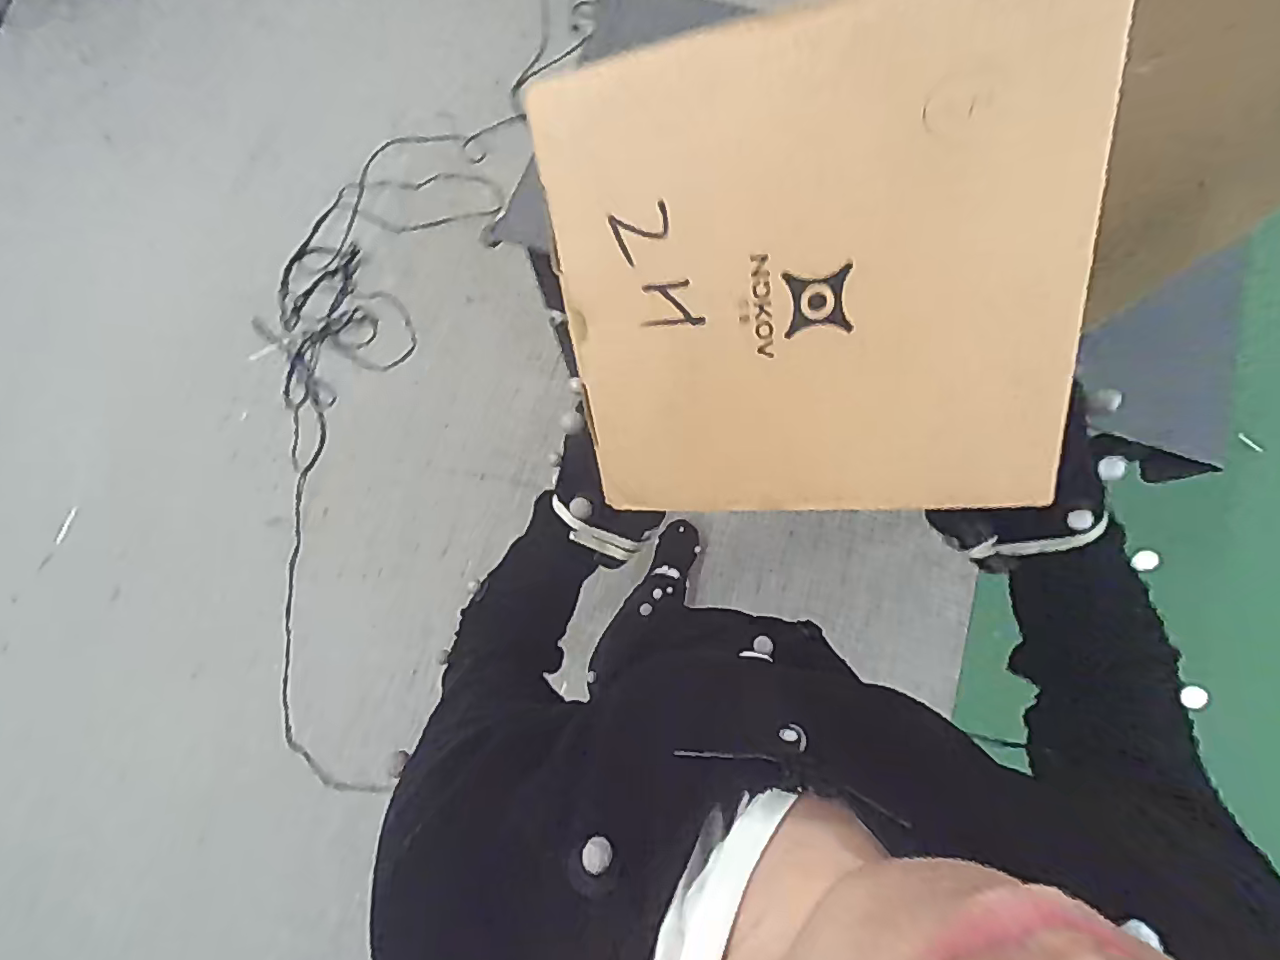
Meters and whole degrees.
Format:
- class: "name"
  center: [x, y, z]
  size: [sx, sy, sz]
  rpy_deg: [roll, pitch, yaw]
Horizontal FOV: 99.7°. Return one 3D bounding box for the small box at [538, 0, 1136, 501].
- class: "small box"
  center: [0.079, -0.100, 0.263]
  size: [0.179, 0.176, 0.168]
  rpy_deg: [-1, 114, 19]
